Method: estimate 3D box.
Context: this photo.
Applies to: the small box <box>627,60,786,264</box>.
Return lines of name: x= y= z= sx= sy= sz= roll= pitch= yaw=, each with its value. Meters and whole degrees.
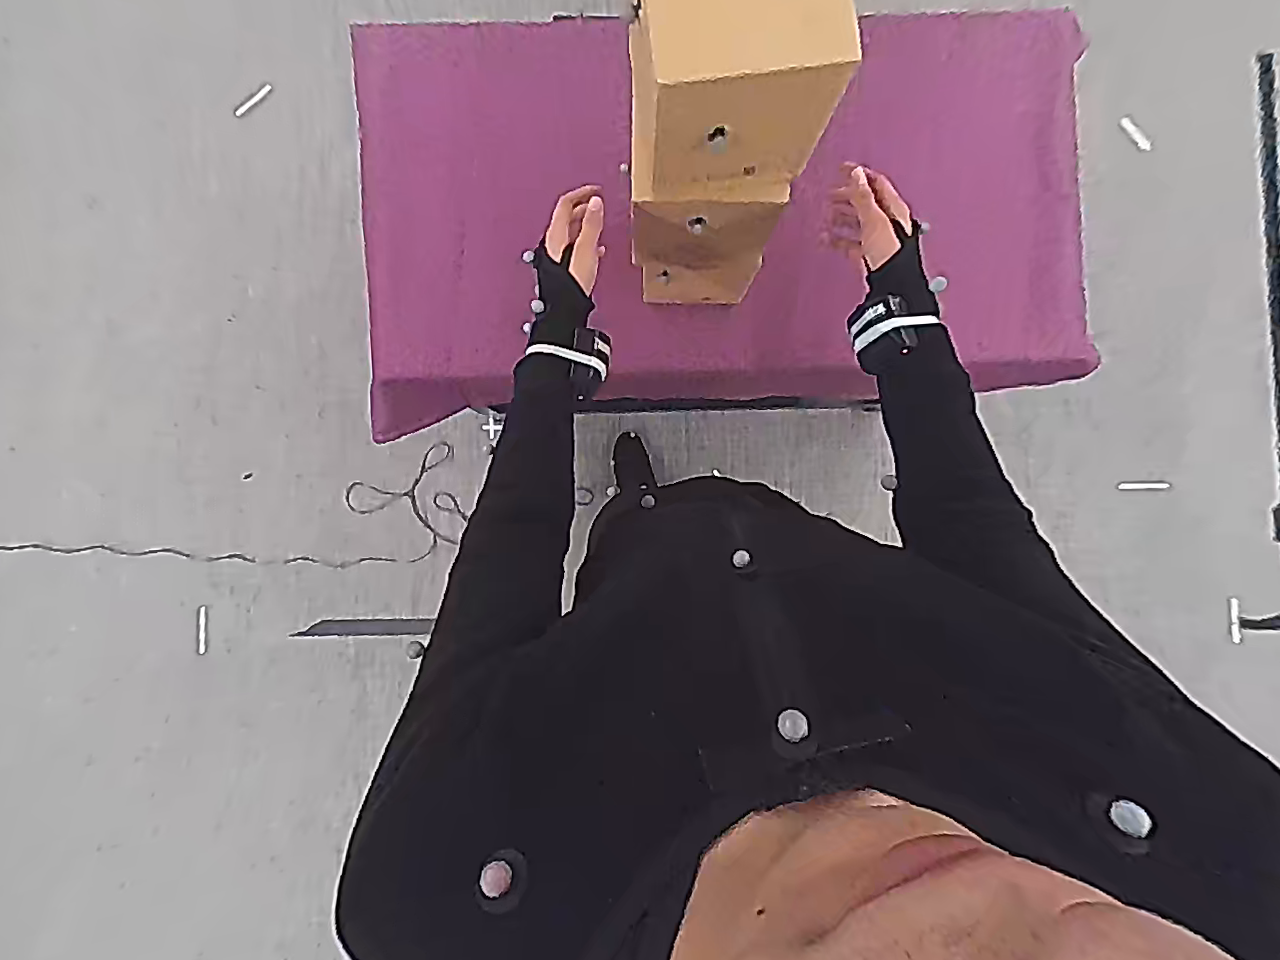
small box: x=0.074 y=-0.382 z=0.672 sx=0.179 sy=0.176 sz=0.168 roll=1 pitch=89 yaw=-1

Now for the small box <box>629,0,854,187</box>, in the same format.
small box: x=0.080 y=-0.403 z=0.509 sx=0.168 sy=0.176 sz=0.179 roll=-7 pitch=87 yaw=0
